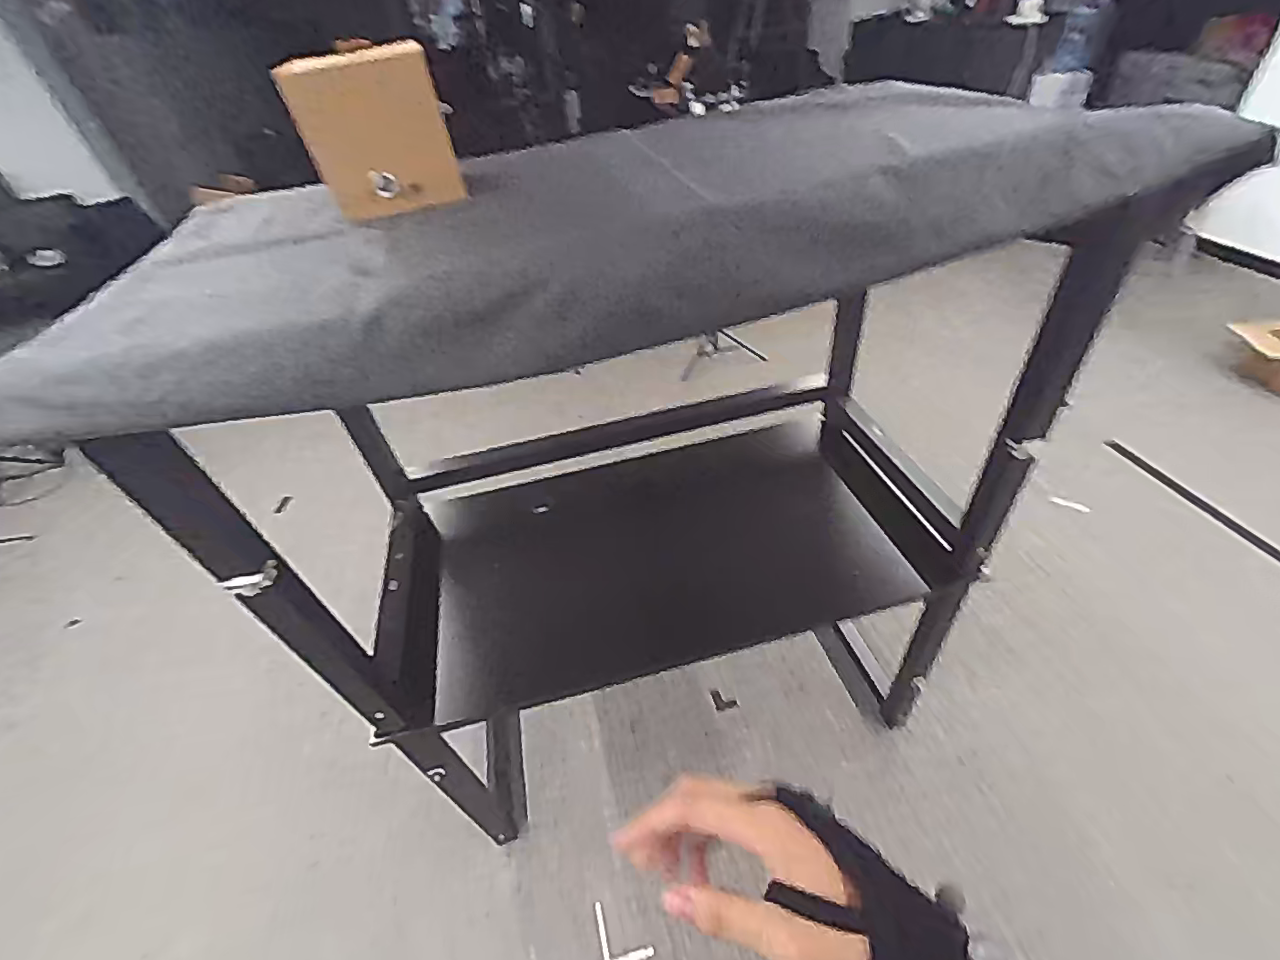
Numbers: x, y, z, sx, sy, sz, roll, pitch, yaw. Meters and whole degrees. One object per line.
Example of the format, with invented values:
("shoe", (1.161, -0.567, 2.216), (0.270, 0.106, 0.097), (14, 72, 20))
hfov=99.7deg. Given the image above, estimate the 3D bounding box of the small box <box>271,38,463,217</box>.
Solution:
("small box", (-0.351, -0.474, 0.728), (0.168, 0.176, 0.179), (-18, 43, -9))
